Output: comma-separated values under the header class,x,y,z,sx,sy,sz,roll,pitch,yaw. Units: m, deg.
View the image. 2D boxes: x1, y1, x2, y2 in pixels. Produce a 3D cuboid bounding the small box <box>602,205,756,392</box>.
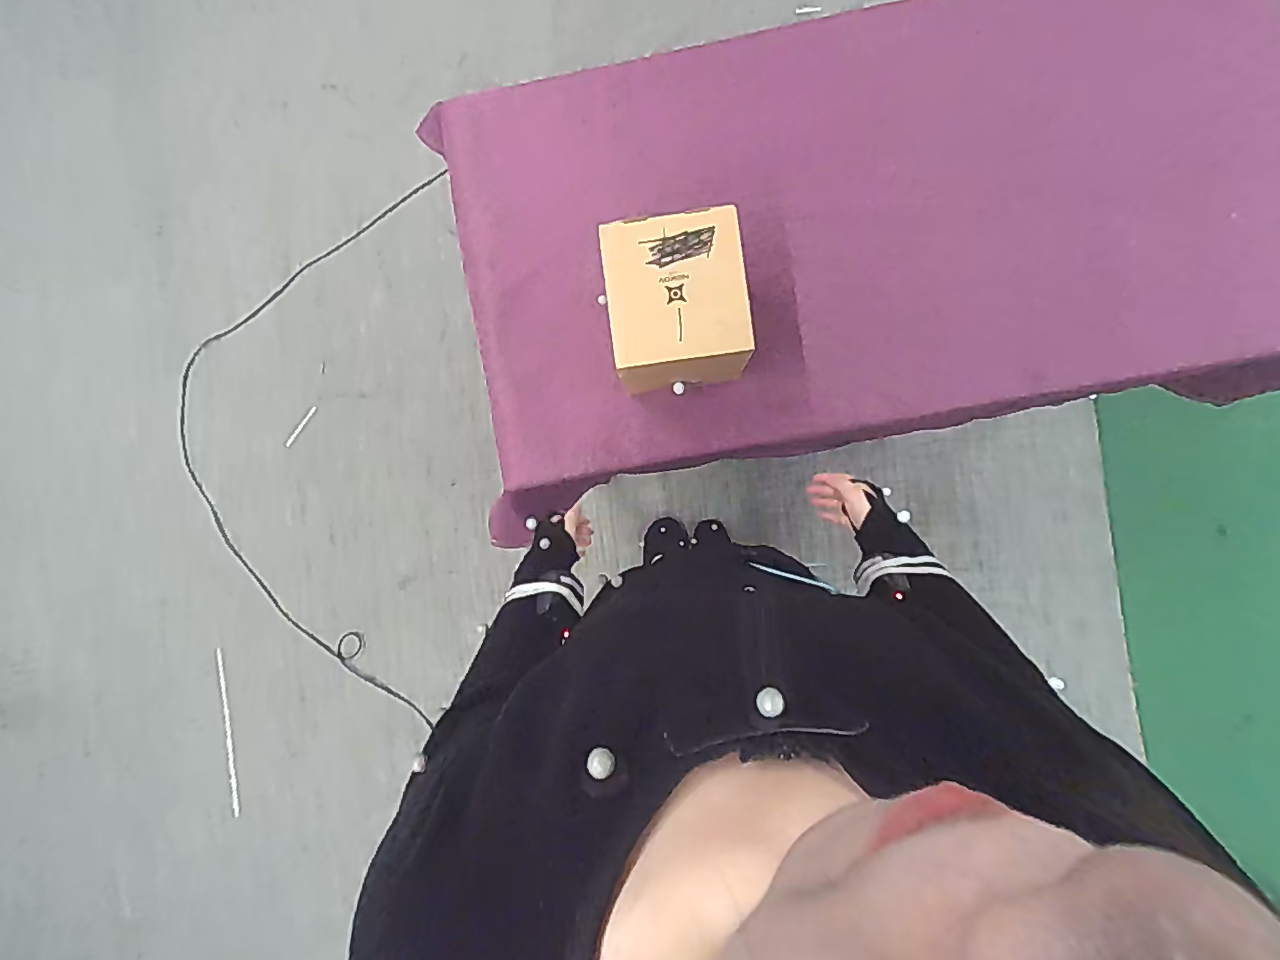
class,x,y,z,sx,sy,sz,roll,pitch,yaw
small box,0.048,-0.226,0.713,0.168,0.176,0.179,-8,89,3
